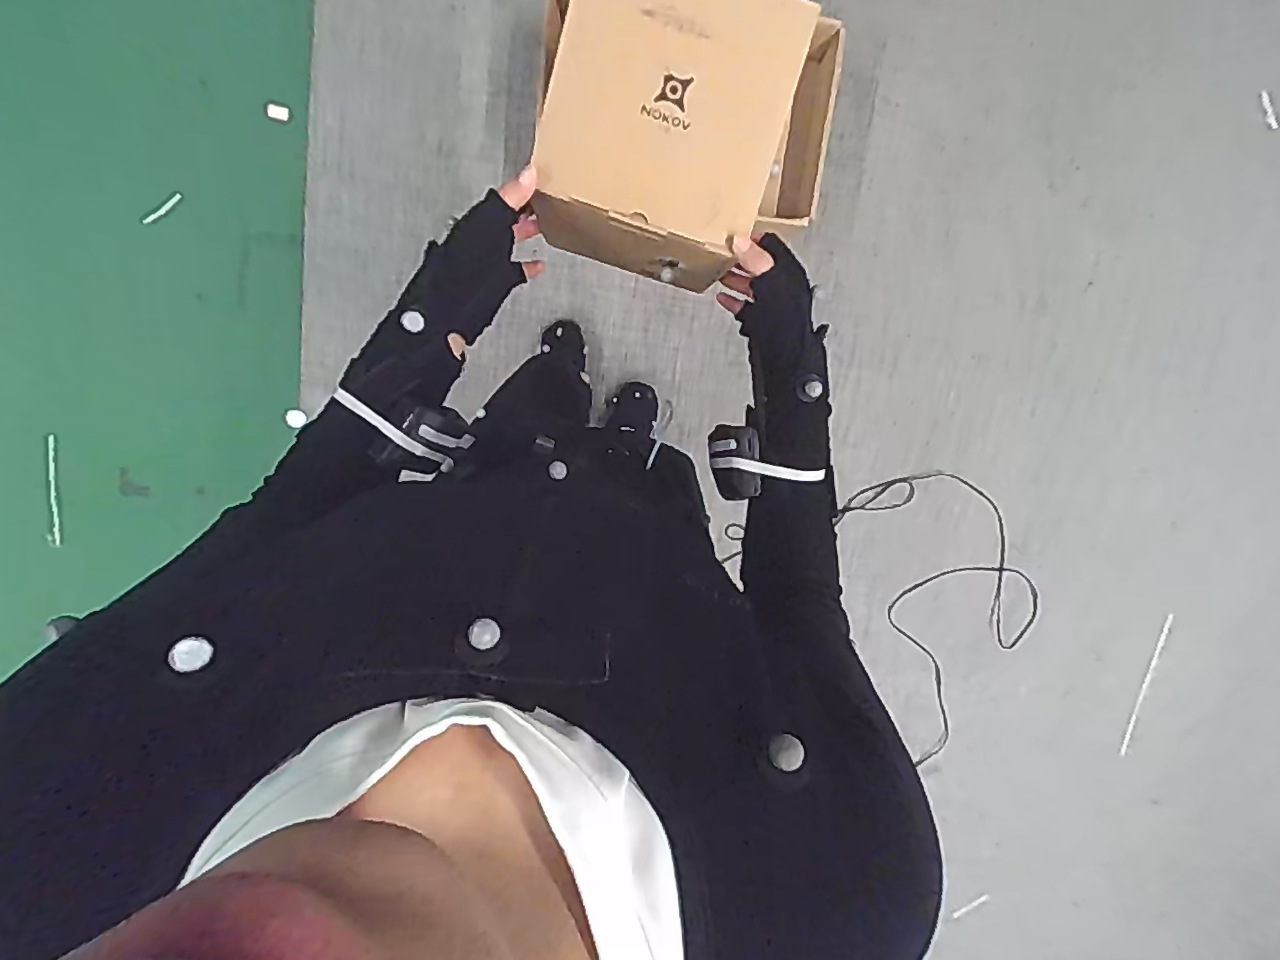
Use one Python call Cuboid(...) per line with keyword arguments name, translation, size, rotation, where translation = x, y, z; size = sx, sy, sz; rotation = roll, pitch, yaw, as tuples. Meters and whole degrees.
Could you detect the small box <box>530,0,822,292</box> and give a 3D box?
Cuboid(name="small box", translation=(0.019, -0.276, 0.454), size=(0.168, 0.176, 0.179), rotation=(16, 98, -8))
